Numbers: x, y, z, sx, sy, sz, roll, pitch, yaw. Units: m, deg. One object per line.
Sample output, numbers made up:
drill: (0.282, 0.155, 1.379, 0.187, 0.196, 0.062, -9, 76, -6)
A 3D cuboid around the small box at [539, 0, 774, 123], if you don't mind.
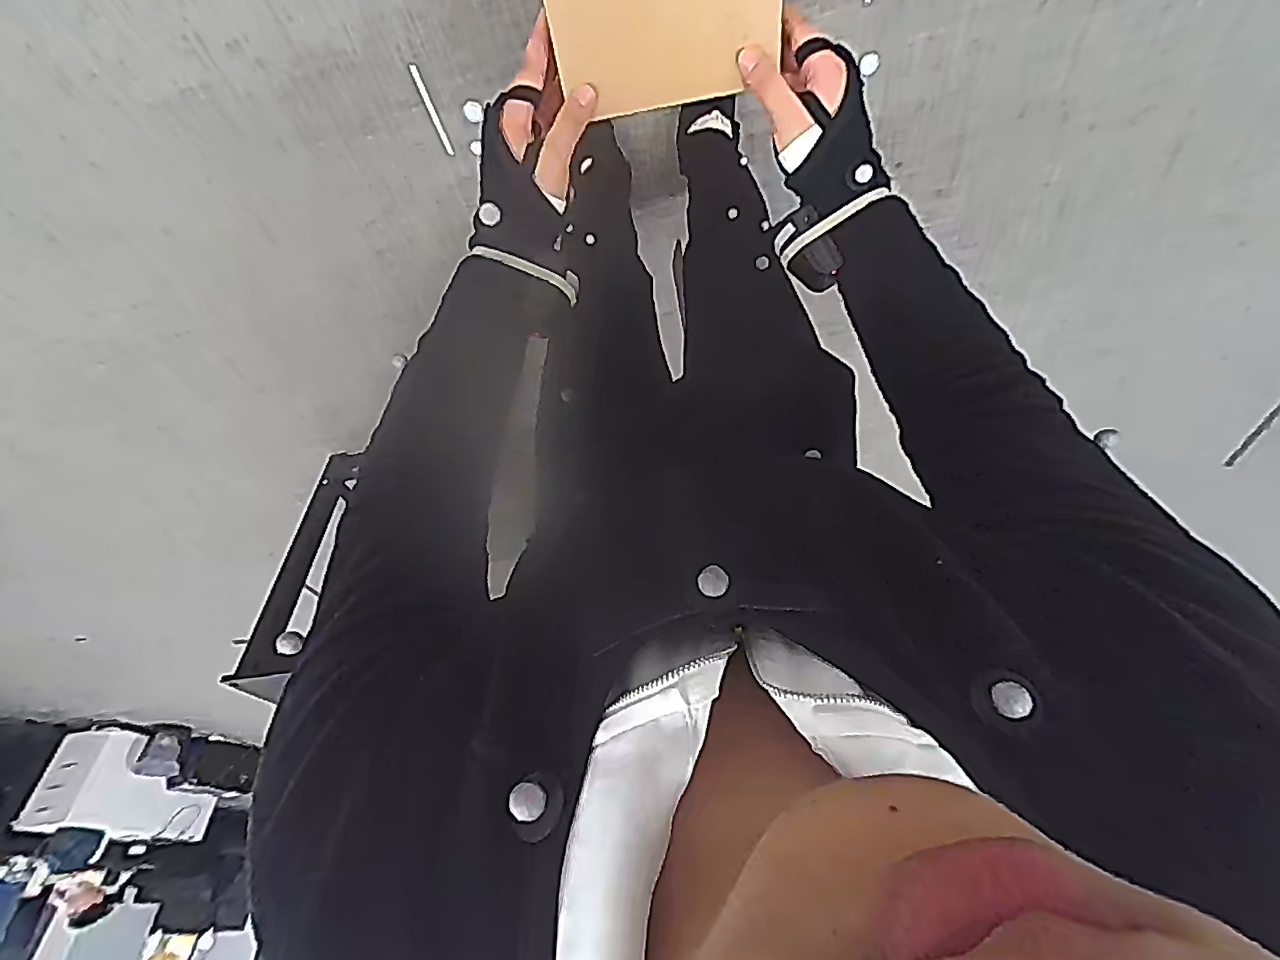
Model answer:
small box: (0.004, -0.409, 0.415, 0.168, 0.176, 0.179, -9, 134, 4)
